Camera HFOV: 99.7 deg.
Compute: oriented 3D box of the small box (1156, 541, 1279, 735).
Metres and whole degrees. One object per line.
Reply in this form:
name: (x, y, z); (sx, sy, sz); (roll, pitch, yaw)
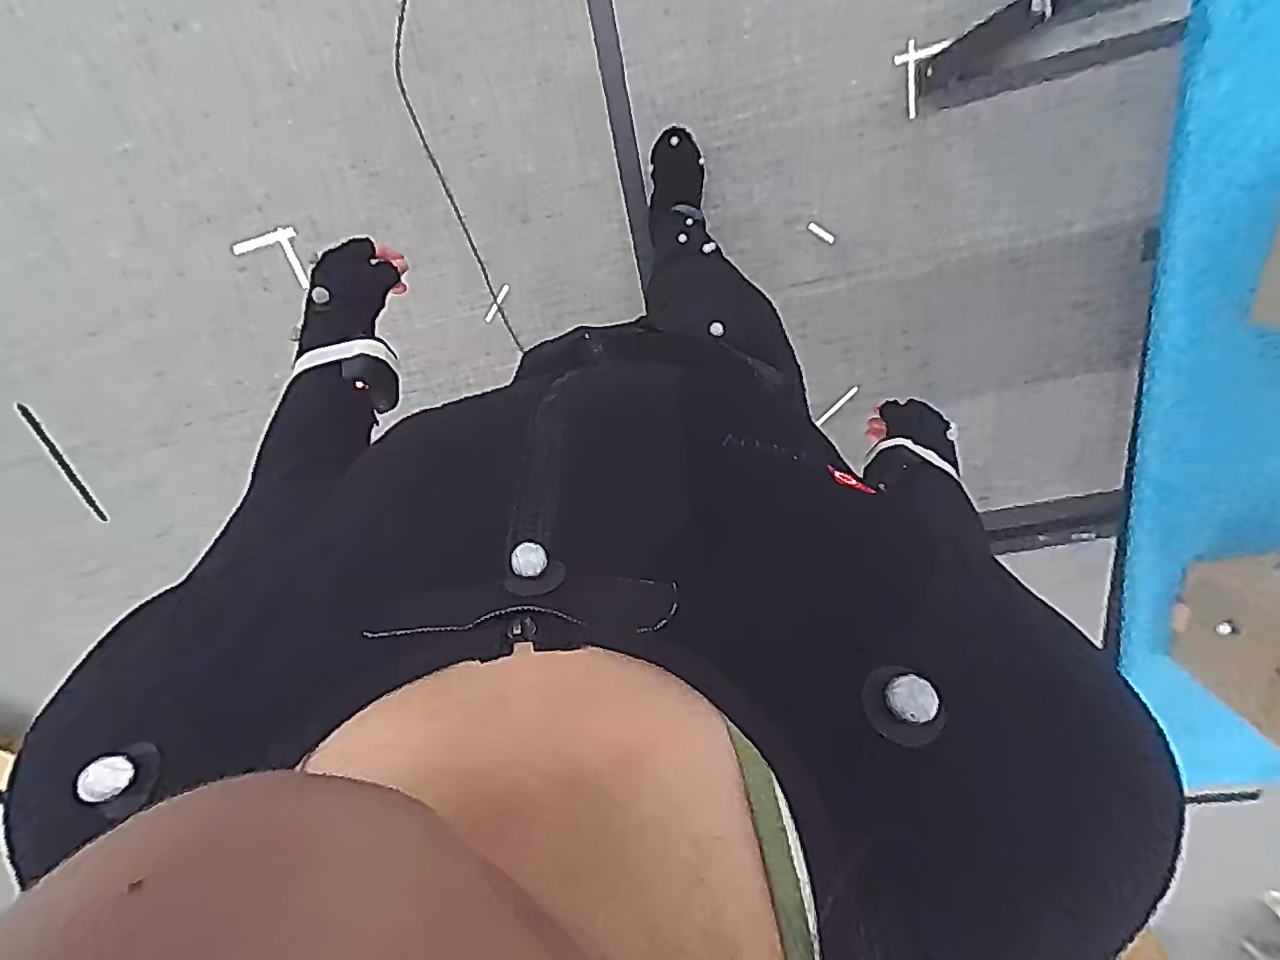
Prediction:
small box: (0.823, 0.198, 0.683); (0.179, 0.176, 0.168); (-11, 114, 8)
